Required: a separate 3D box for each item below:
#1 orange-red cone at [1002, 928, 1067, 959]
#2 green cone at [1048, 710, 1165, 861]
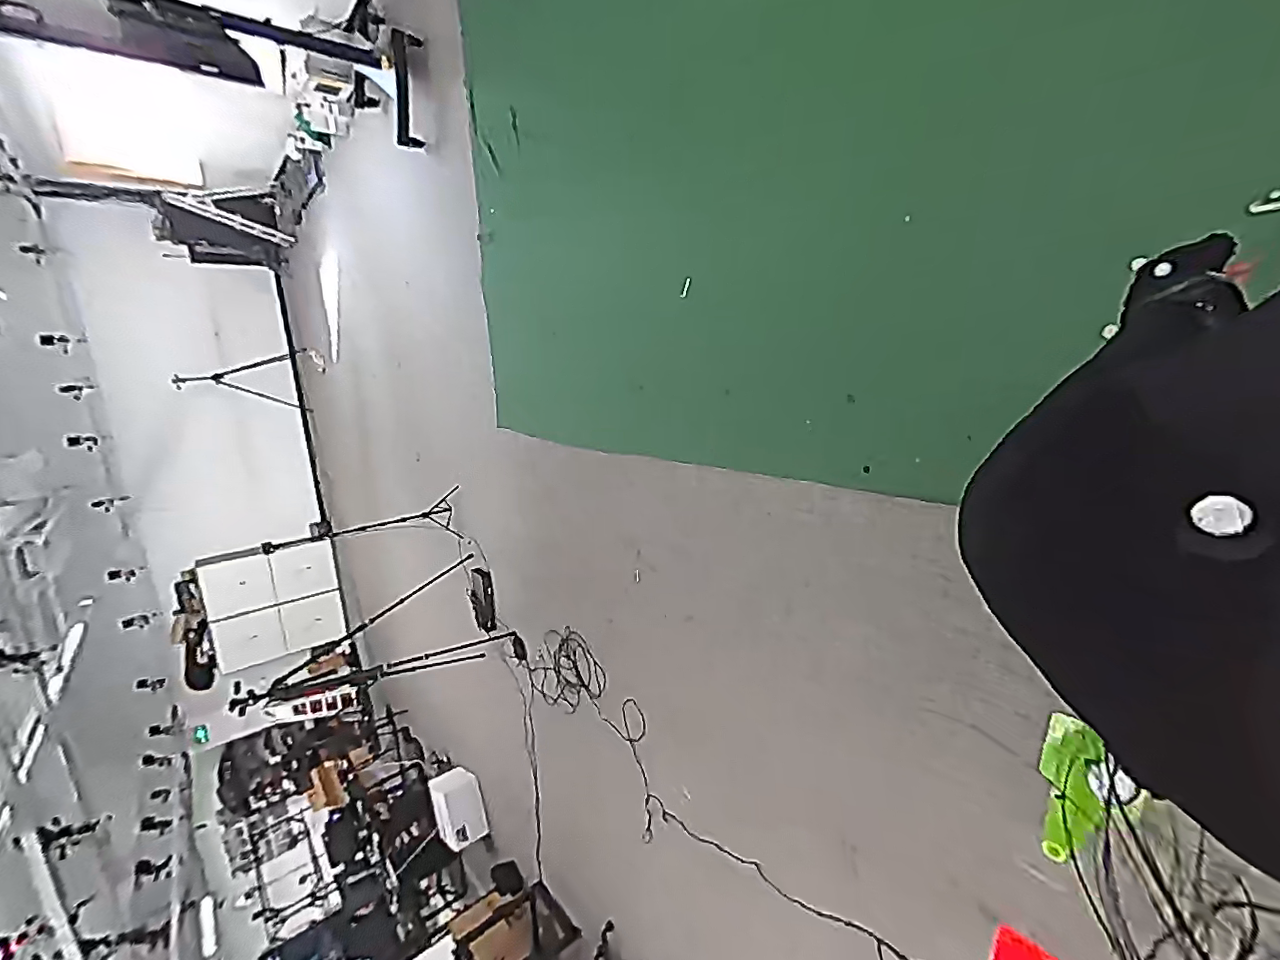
[{"bbox_3d":[1.013,1.421,1.410,0.198,0.360,0.199,18,113,46],"label":"orange-red cone"},{"bbox_3d":[0.997,0.717,1.211,0.200,0.368,0.202,15,114,48],"label":"green cone"}]
